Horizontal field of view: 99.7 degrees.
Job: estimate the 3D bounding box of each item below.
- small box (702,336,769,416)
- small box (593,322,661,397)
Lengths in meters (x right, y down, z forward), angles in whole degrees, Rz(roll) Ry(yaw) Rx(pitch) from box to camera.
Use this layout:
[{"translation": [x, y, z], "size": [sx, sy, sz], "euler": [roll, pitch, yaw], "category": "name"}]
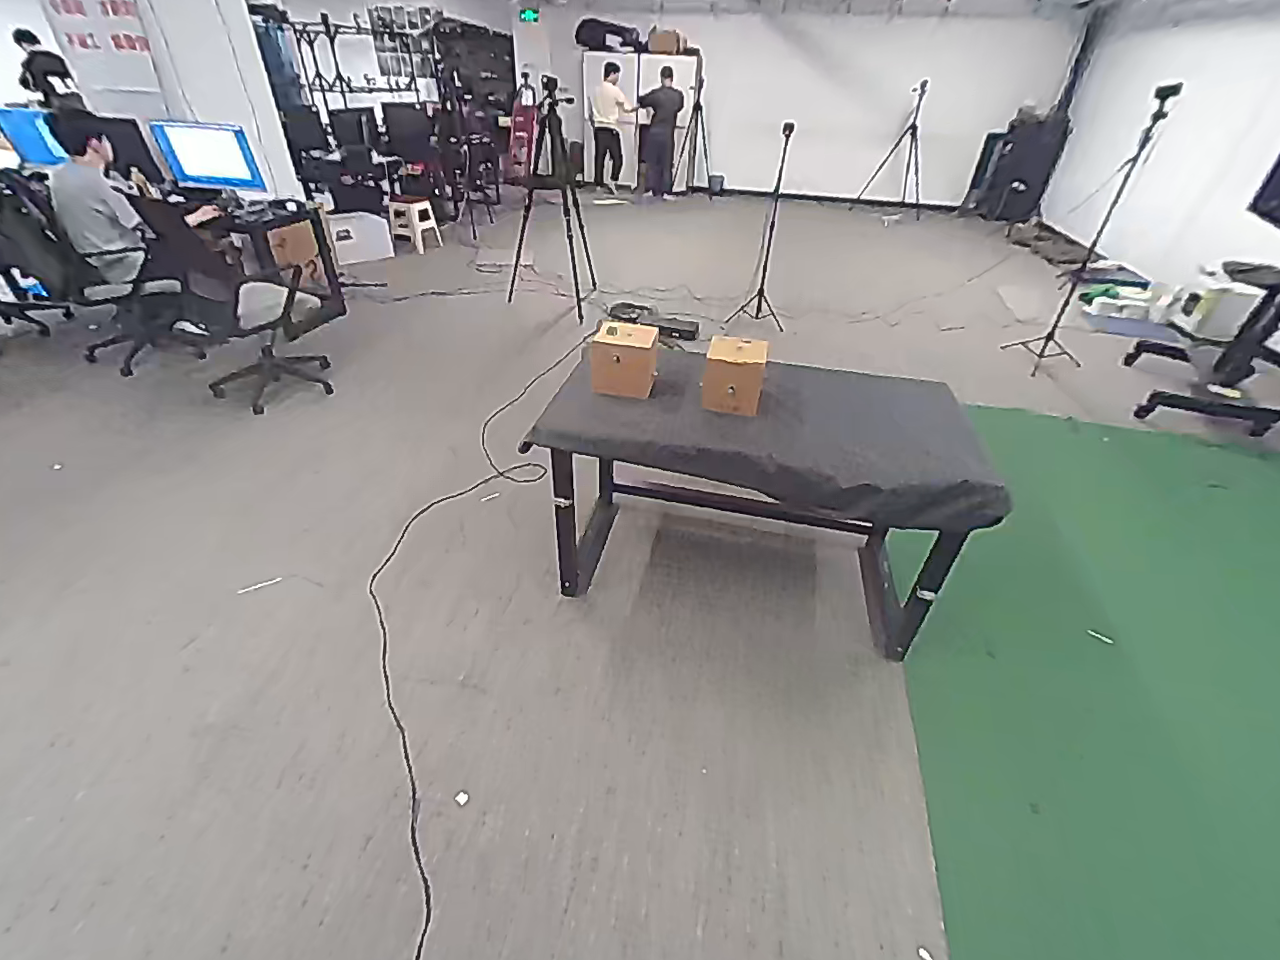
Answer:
[{"translation": [0.281, -0.308, 1.601], "size": [0.168, 0.176, 0.179], "euler": [10, 37, 9], "category": "small box"}, {"translation": [-0.040, -0.367, 1.657], "size": [0.179, 0.176, 0.168], "euler": [9, 37, 6], "category": "small box"}]
